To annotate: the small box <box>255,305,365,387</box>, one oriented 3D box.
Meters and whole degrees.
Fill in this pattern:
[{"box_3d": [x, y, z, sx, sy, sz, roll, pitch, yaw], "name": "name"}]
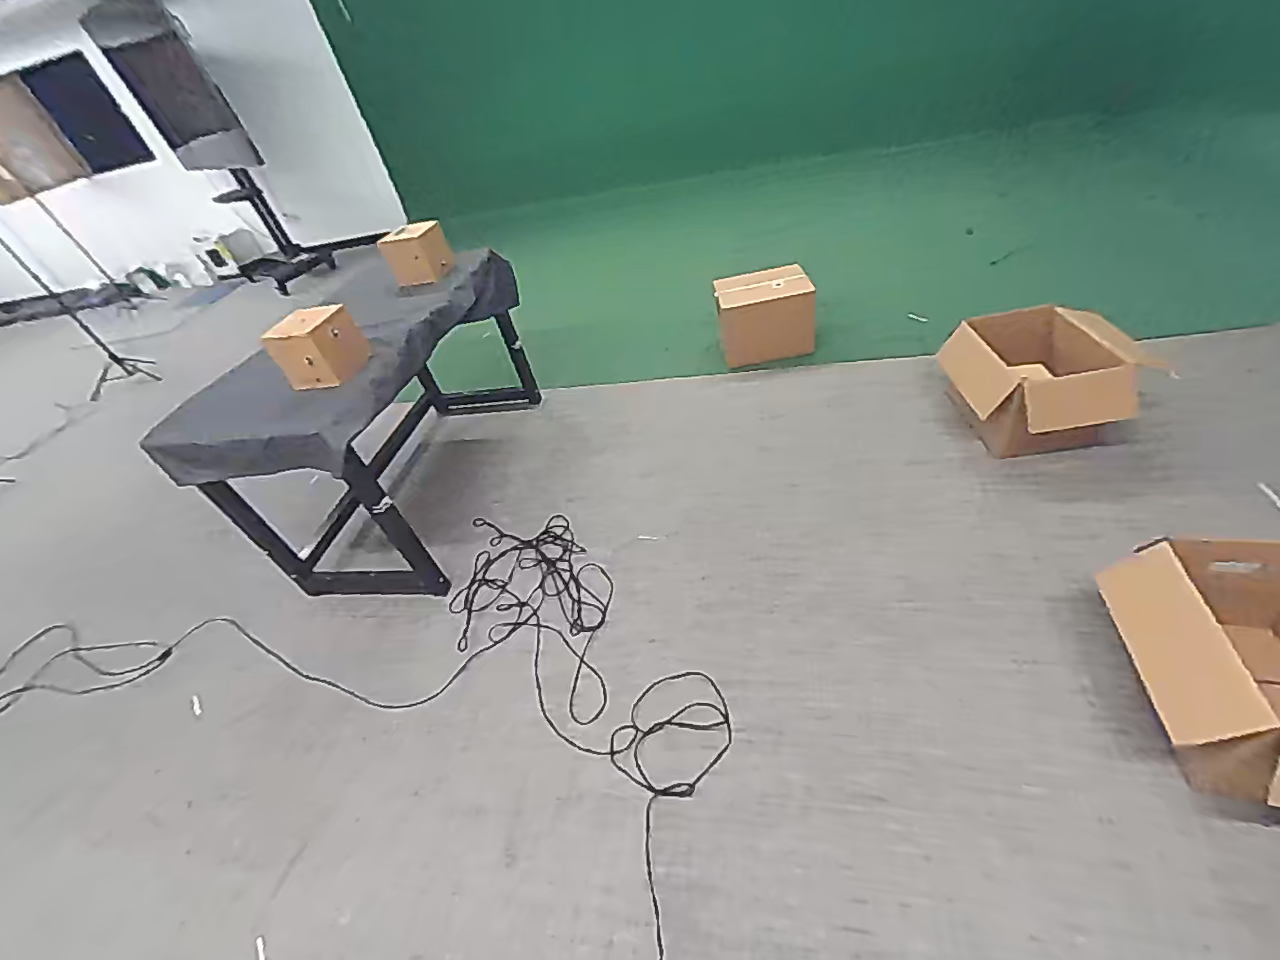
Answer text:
[{"box_3d": [-0.923, -0.374, 1.535, 0.168, 0.176, 0.179, 0, 41, 14], "name": "small box"}]
